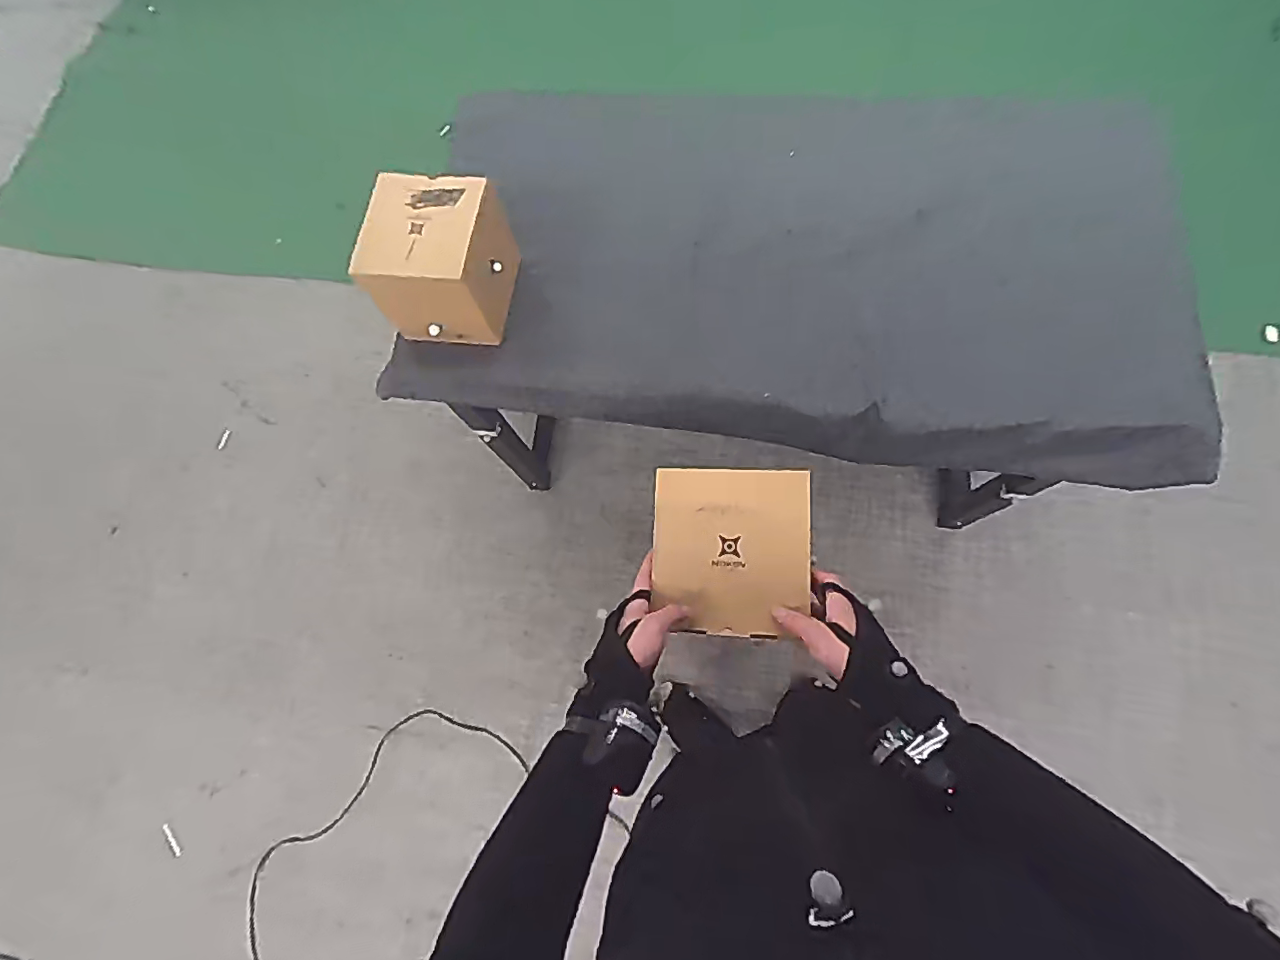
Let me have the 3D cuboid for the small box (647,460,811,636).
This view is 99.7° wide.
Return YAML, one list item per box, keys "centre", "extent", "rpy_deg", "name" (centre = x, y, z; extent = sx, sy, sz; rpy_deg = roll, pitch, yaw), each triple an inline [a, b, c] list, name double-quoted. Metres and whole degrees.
- centre: [0.105, 0.082, 0.633]
  extent: [0.168, 0.176, 0.179]
  rpy_deg: [1, 78, 8]
  name: "small box"

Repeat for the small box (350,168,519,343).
- centre: [-0.295, -0.334, 0.821]
  extent: [0.168, 0.176, 0.179]
  rpy_deg: [6, 73, 7]
  name: "small box"
